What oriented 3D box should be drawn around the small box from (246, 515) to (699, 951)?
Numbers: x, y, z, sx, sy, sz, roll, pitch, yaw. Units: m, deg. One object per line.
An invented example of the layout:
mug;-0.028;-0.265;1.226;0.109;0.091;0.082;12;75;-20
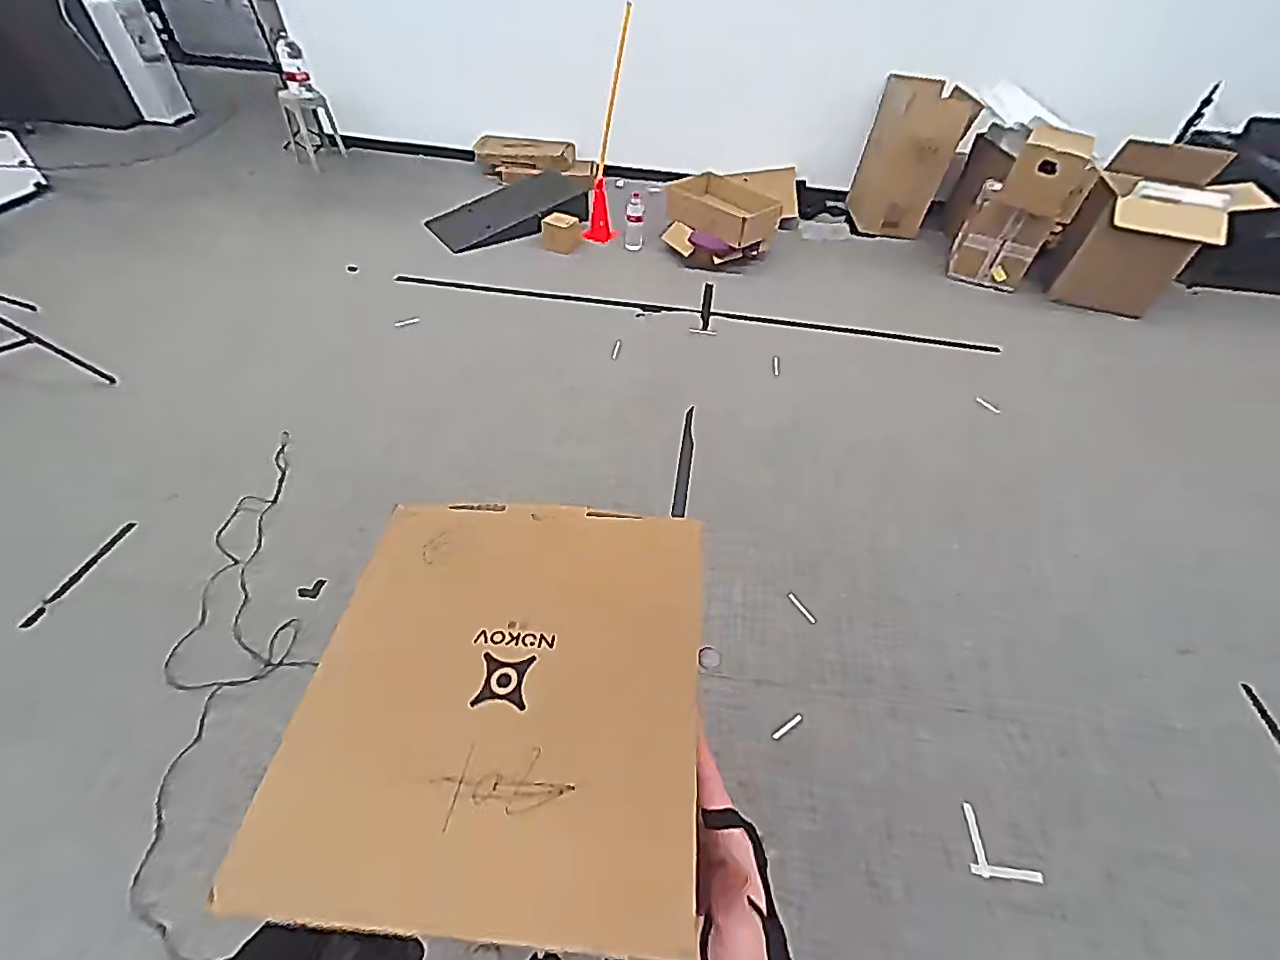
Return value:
small box;-0.056;0.141;0.305;0.168;0.176;0.179;2;51;4
